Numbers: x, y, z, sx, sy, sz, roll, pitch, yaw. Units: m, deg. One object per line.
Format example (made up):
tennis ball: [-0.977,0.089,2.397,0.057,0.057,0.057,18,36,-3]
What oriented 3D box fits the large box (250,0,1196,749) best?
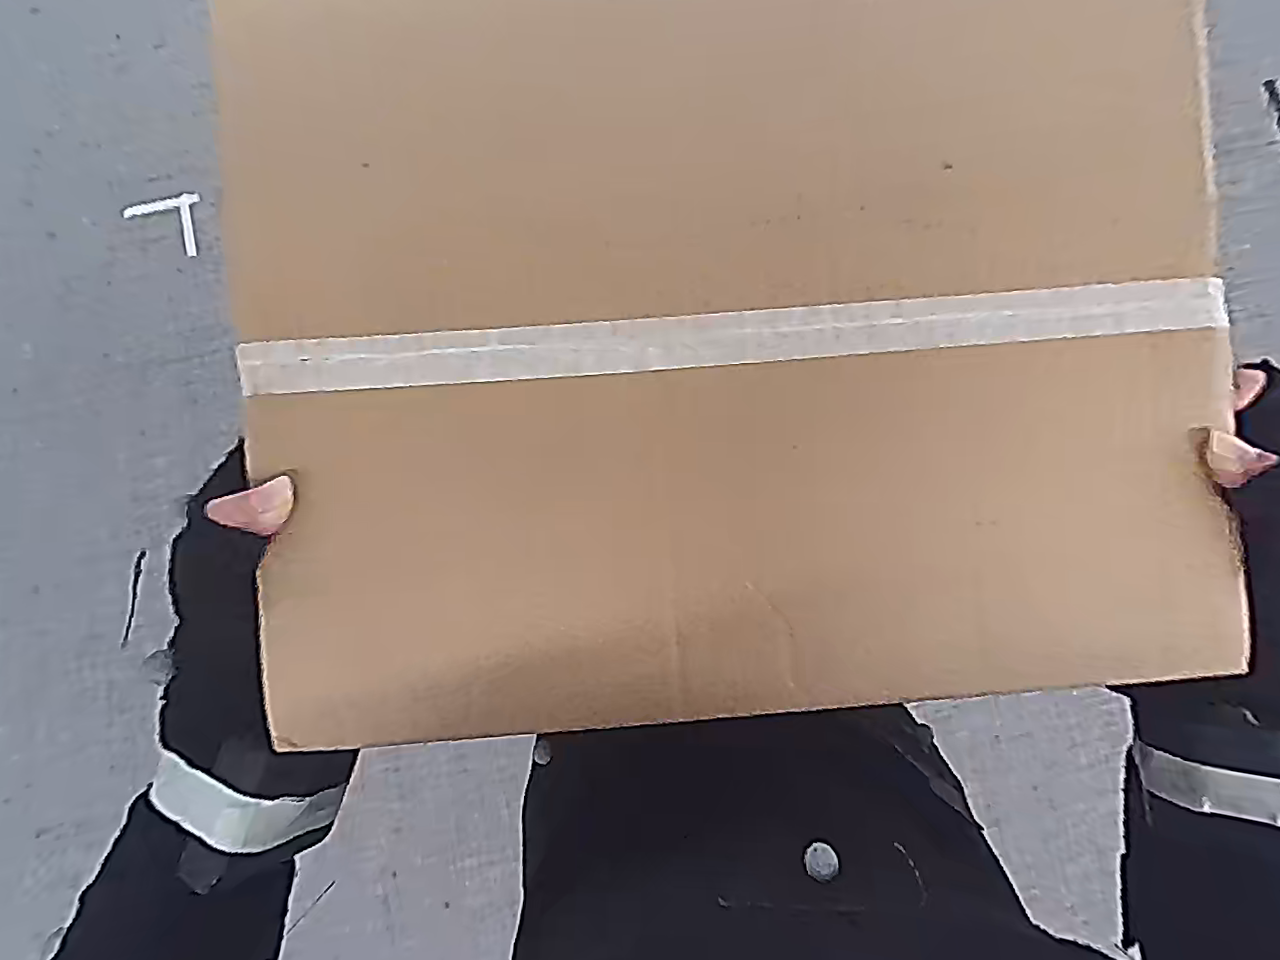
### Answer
large box: [0.041,-0.056,0.385,0.408,0.320,0.320,-5,90,-1]
